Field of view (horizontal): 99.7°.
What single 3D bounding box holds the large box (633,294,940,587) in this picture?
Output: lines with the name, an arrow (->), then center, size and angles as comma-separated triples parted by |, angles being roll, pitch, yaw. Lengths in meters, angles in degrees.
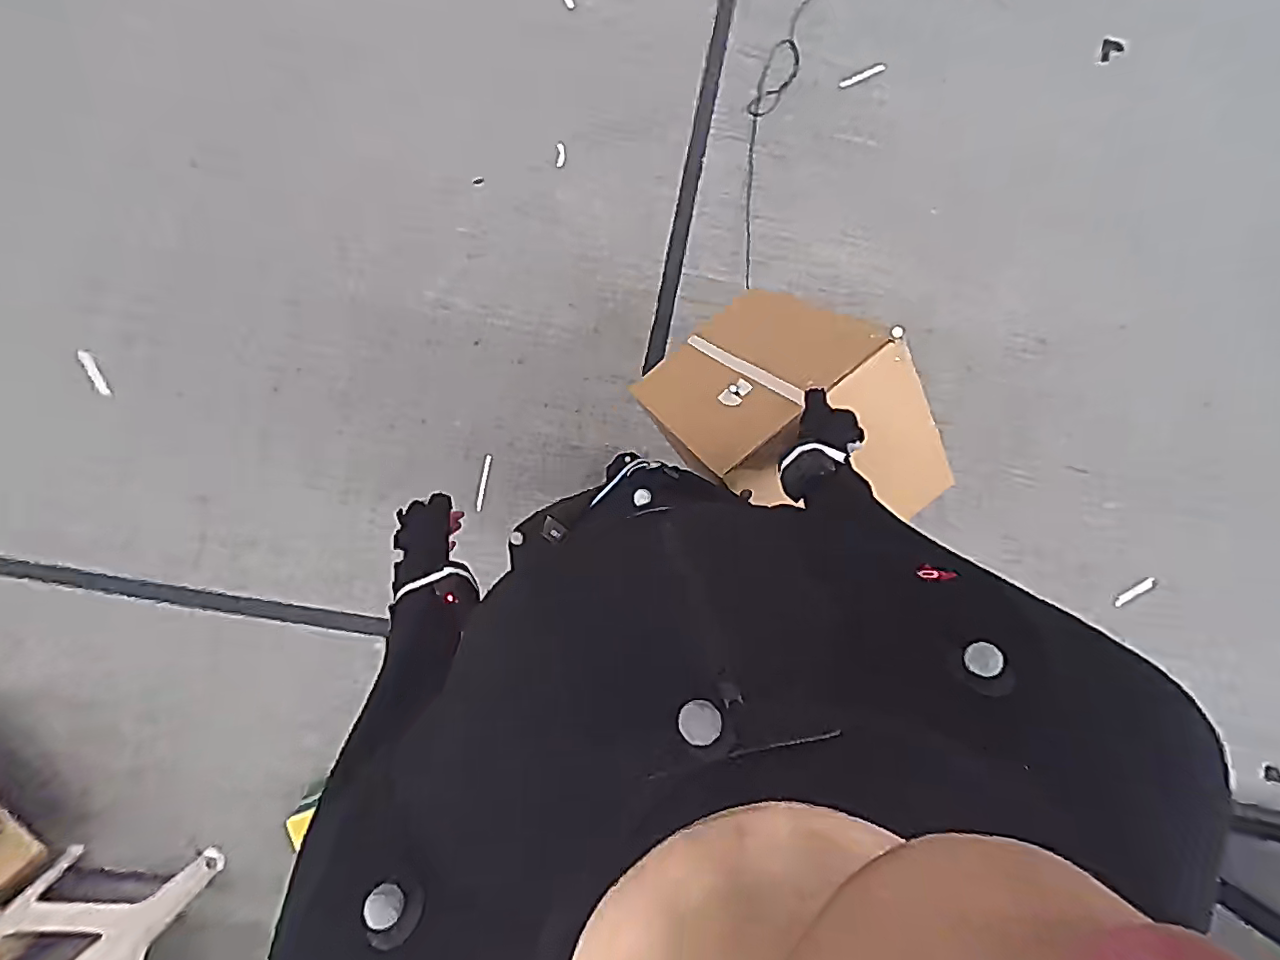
large box -> 0.246, -0.090, 0.983 | 0.320, 0.408, 0.320 | -38, 124, 1
